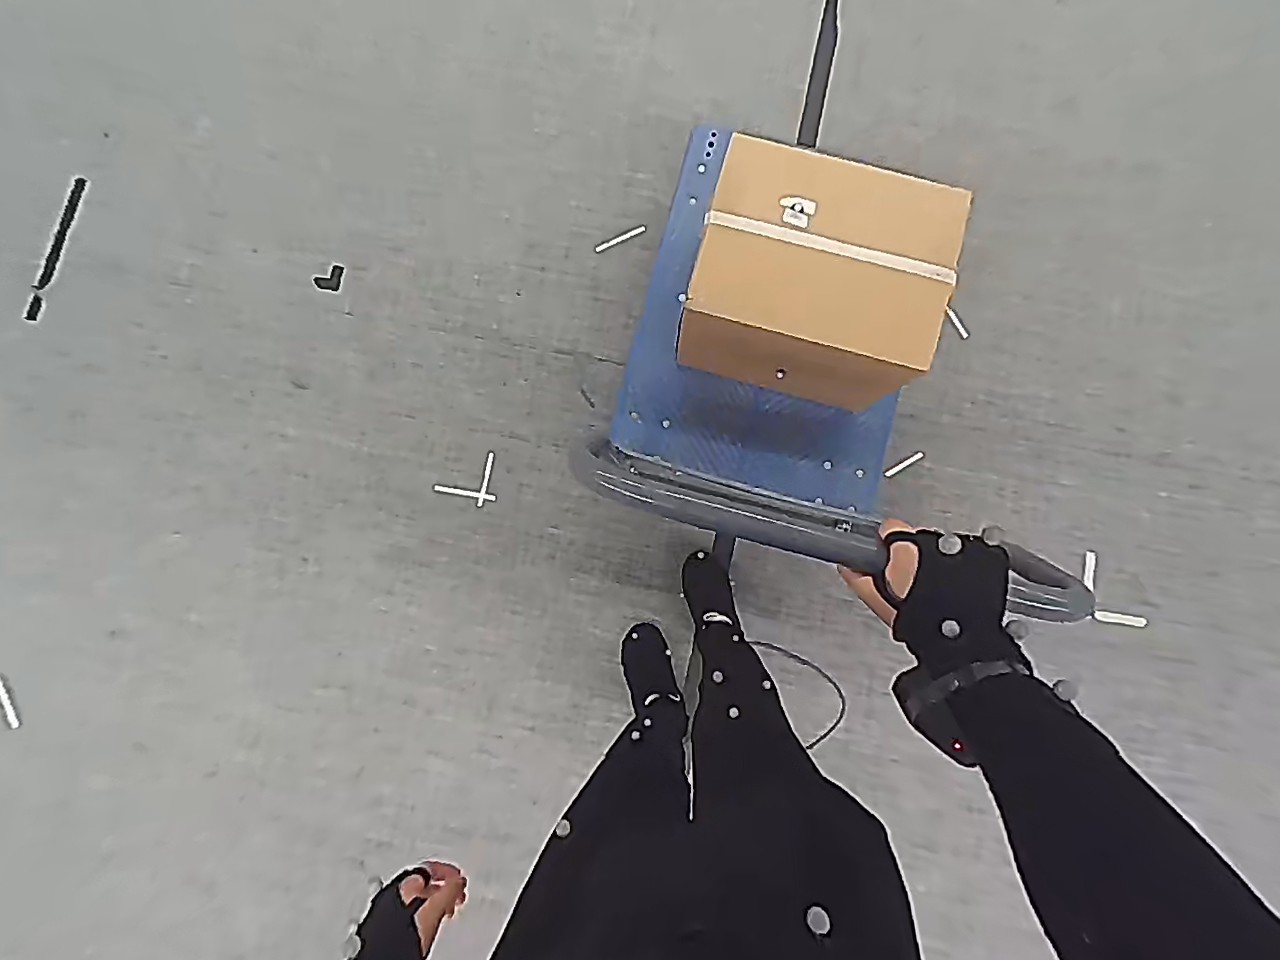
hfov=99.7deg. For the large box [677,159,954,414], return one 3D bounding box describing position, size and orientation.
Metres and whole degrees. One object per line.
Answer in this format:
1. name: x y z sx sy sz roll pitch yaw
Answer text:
1. large box: 0.306 -0.345 1.051 0.408 0.320 0.320 15 85 4
